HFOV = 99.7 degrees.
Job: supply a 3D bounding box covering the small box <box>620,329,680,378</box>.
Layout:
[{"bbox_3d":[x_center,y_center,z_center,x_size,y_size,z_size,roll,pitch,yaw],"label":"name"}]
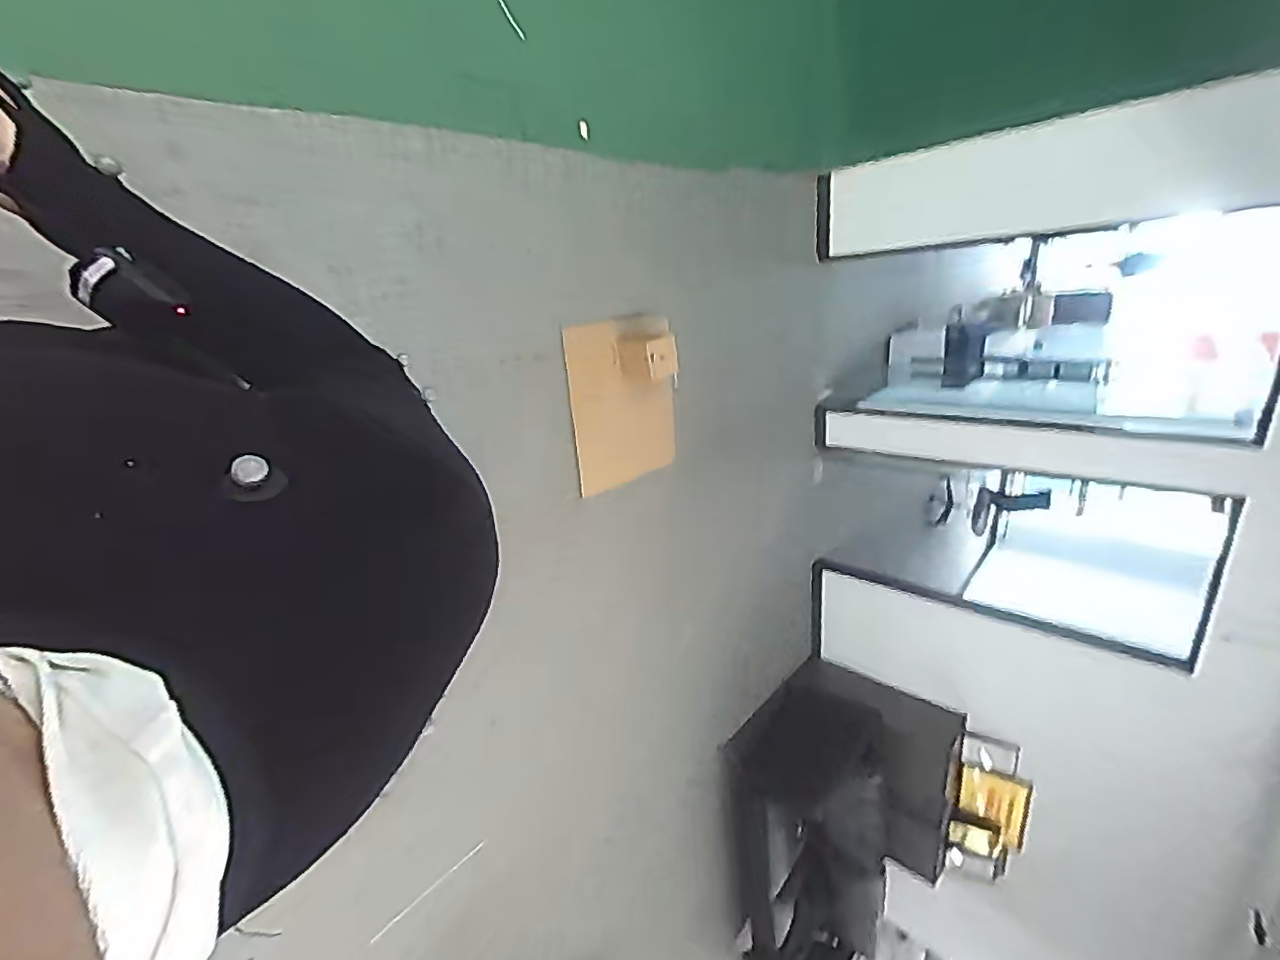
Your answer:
[{"bbox_3d":[0.042,-0.529,2.242,0.179,0.176,0.168,-32,123,-39],"label":"small box"}]
